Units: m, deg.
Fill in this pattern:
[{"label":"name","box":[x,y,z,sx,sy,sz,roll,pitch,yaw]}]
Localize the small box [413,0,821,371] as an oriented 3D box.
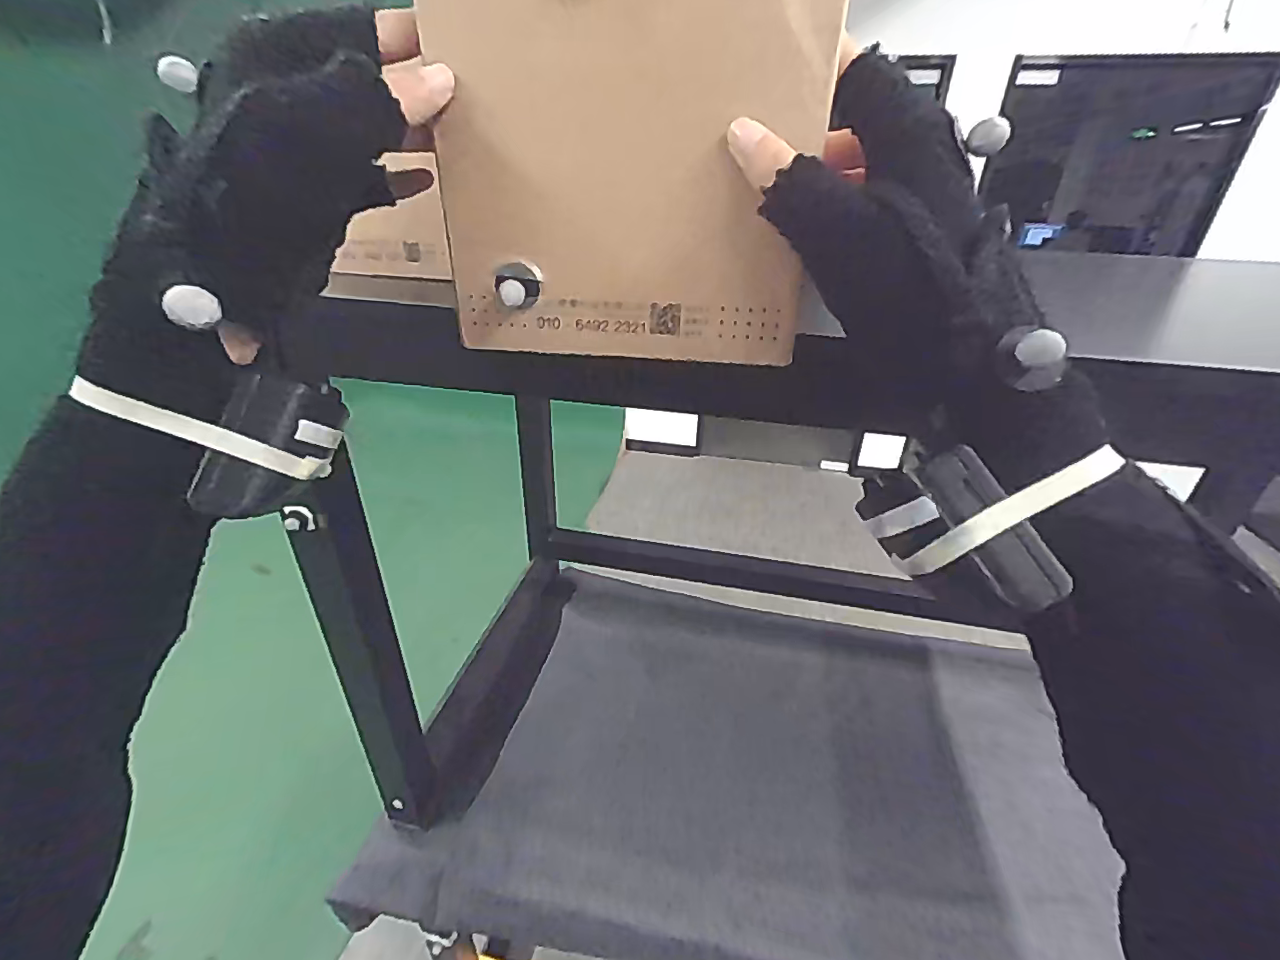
[{"label":"small box","box":[0.000,-0.168,0.312,0.168,0.176,0.179,5,29,6]}]
